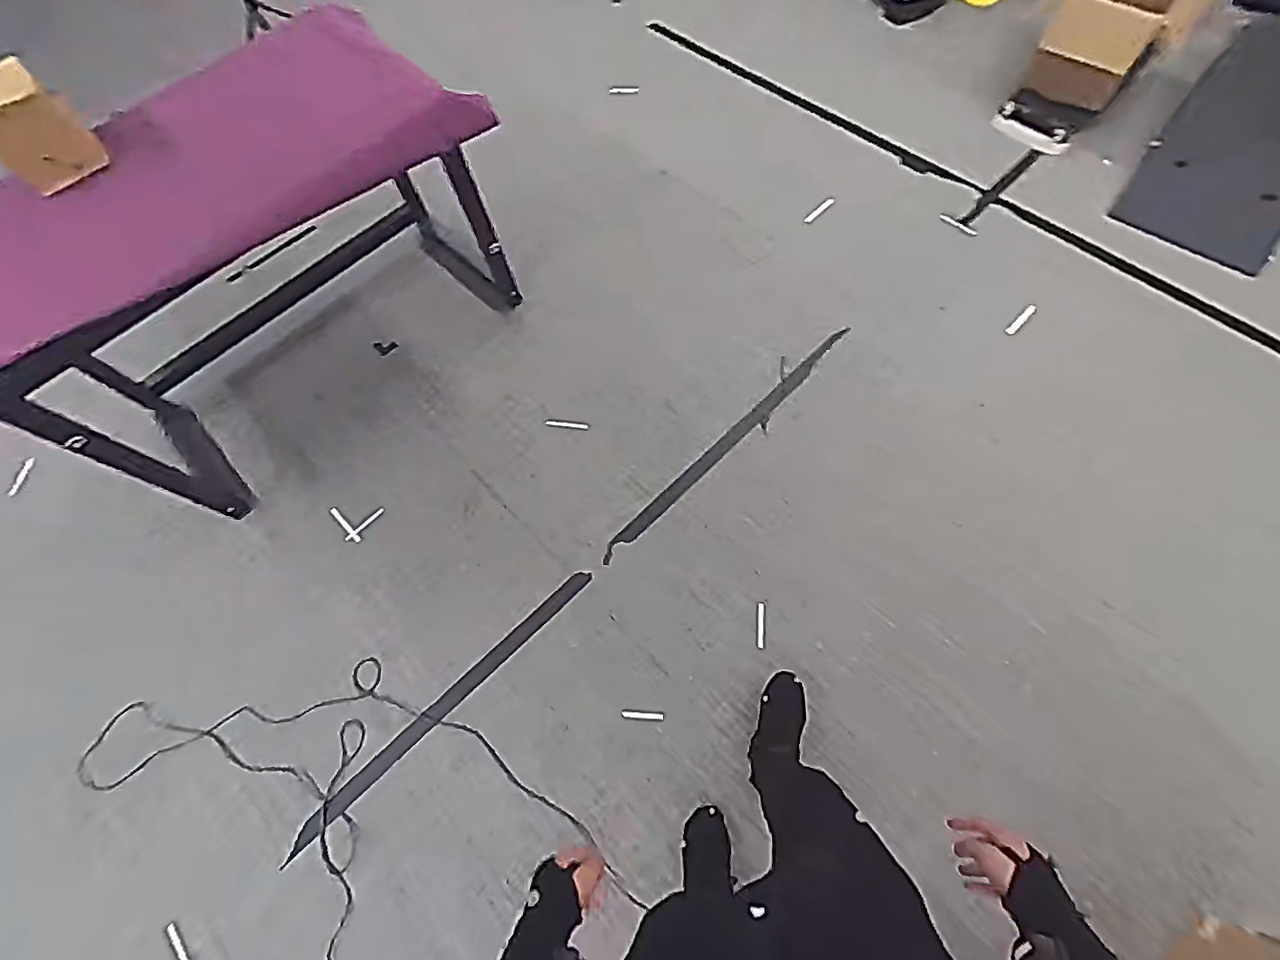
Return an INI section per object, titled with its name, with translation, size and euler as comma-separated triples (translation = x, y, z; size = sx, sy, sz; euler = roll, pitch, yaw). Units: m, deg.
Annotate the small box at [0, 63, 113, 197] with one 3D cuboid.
[small box]
translation = -1.369, -0.785, 1.224
size = 0.168, 0.176, 0.179
euler = -40, 70, -12
